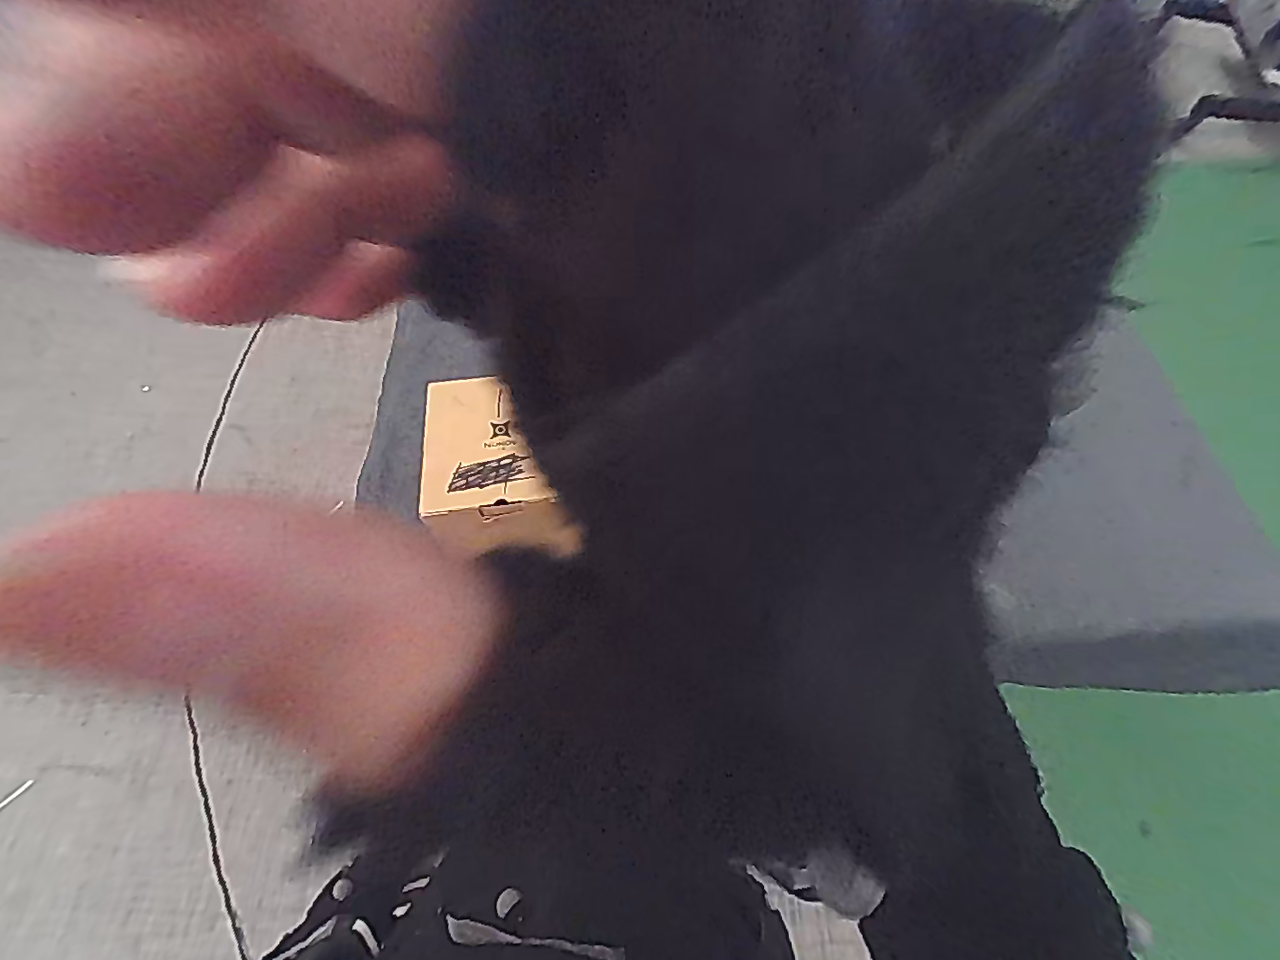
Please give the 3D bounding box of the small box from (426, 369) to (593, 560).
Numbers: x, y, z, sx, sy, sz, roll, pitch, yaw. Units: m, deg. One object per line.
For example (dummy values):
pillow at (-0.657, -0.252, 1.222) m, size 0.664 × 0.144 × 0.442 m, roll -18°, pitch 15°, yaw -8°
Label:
small box at (-0.151, -0.010, 0.670) m, size 0.168 × 0.176 × 0.179 m, roll -7°, pitch 60°, yaw -4°
